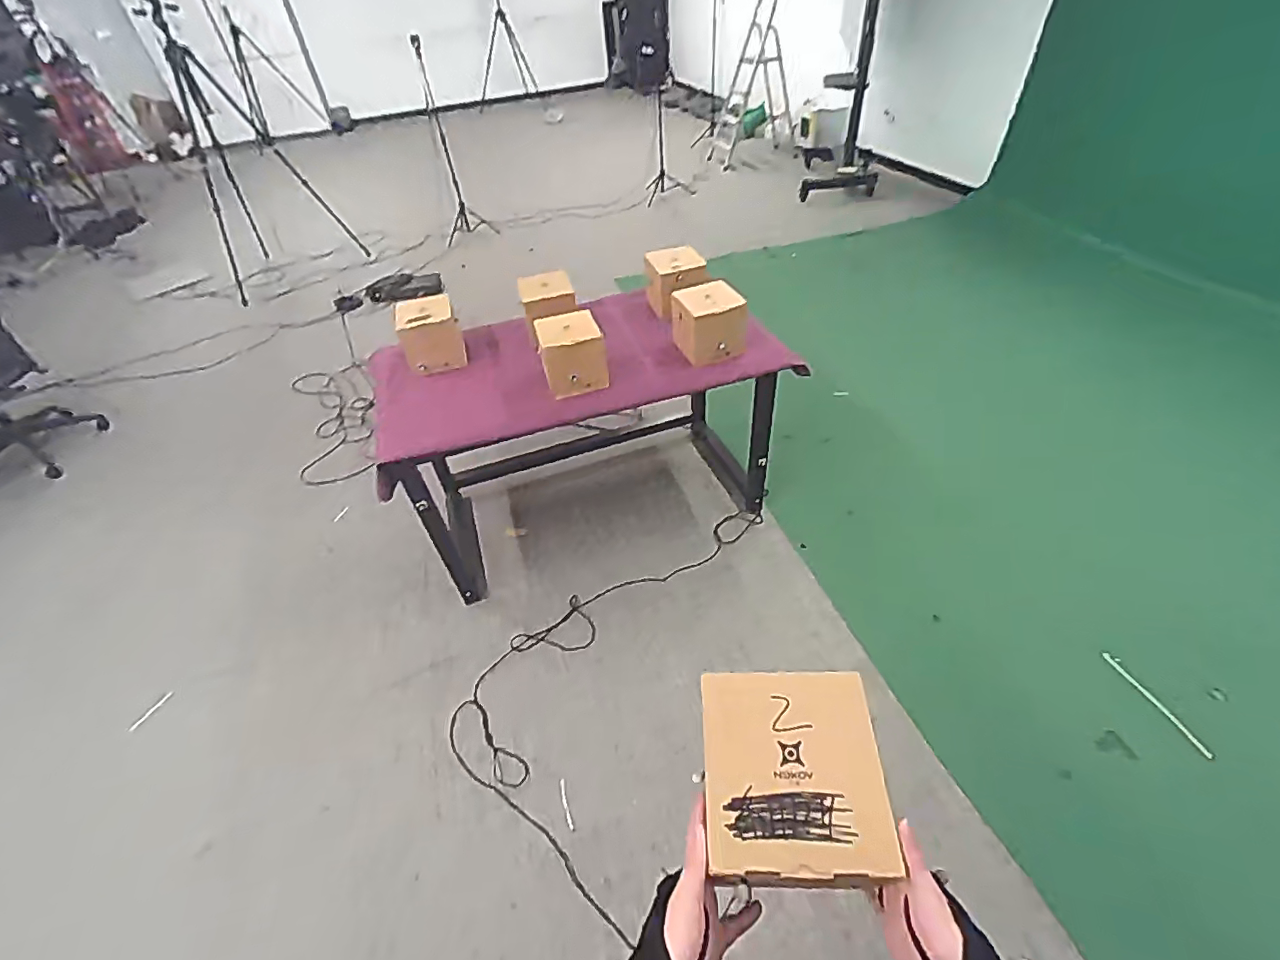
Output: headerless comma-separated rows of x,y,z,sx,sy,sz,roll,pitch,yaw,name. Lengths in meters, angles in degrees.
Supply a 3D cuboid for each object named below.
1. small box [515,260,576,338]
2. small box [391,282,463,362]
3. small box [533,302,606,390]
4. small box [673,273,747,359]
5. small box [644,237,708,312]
-0.300,-0.584,1.748,0.168,0.176,0.179,-14,47,-8,small box
-0.655,-0.482,1.669,0.168,0.176,0.179,-14,47,-10,small box
-0.199,-0.381,1.540,0.168,0.176,0.179,-14,46,-10,small box
0.203,-0.485,1.605,0.168,0.176,0.179,-17,47,-10,small box
0.118,-0.690,1.815,0.168,0.176,0.179,-15,47,-9,small box
